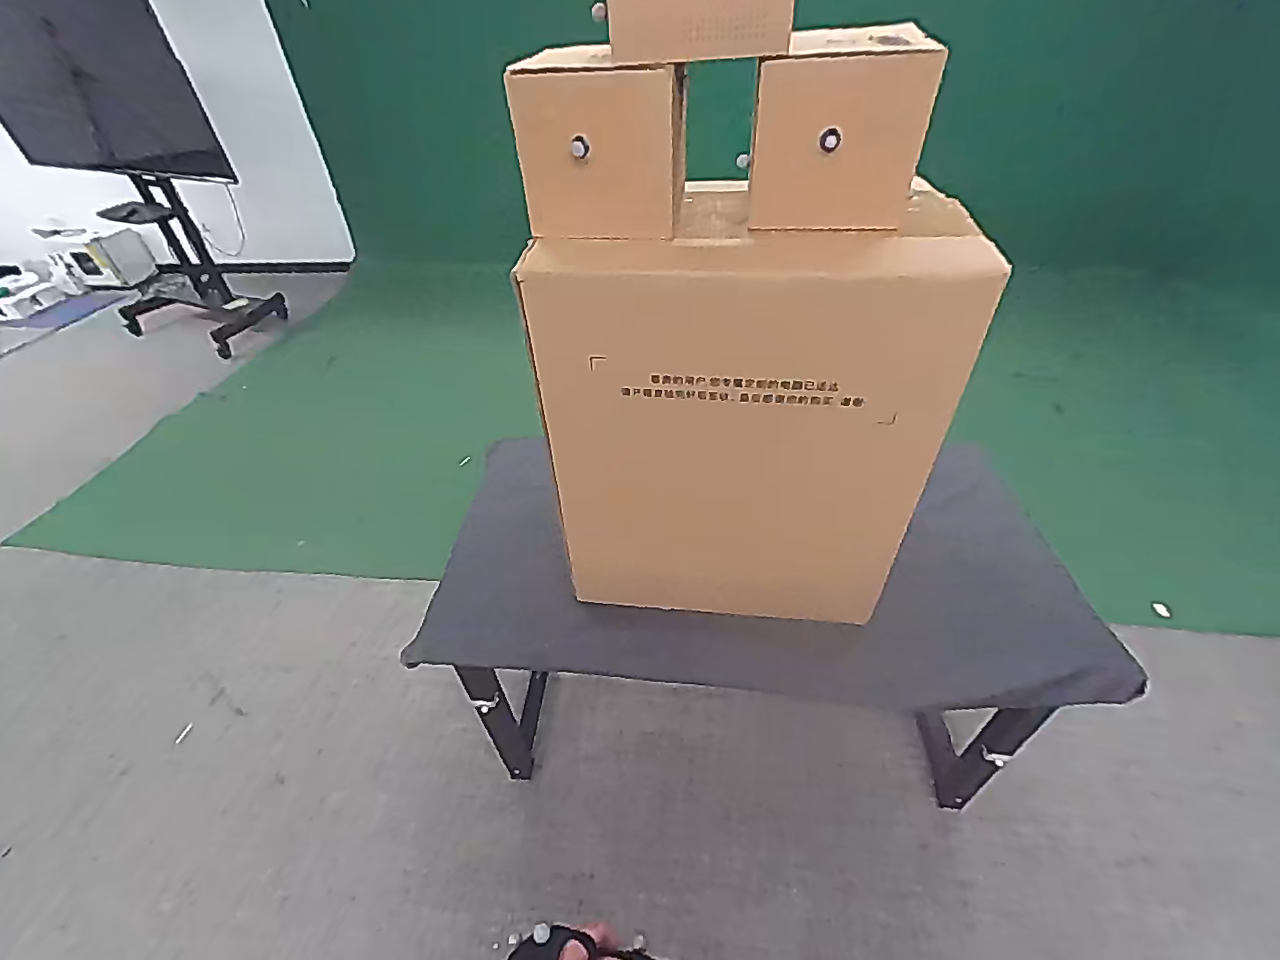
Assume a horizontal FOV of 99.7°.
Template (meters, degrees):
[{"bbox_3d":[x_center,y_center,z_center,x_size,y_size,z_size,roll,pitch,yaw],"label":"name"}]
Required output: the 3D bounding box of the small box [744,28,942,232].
[{"bbox_3d":[0.219,-0.405,0.634,0.179,0.176,0.168,3,46,9],"label":"small box"}]

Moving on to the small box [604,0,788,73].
[{"bbox_3d":[0.051,-0.517,0.530,0.179,0.176,0.168,-4,43,1],"label":"small box"}]

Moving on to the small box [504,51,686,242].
[{"bbox_3d":[-0.039,-0.401,0.653,0.179,0.176,0.168,4,46,8],"label":"small box"}]
